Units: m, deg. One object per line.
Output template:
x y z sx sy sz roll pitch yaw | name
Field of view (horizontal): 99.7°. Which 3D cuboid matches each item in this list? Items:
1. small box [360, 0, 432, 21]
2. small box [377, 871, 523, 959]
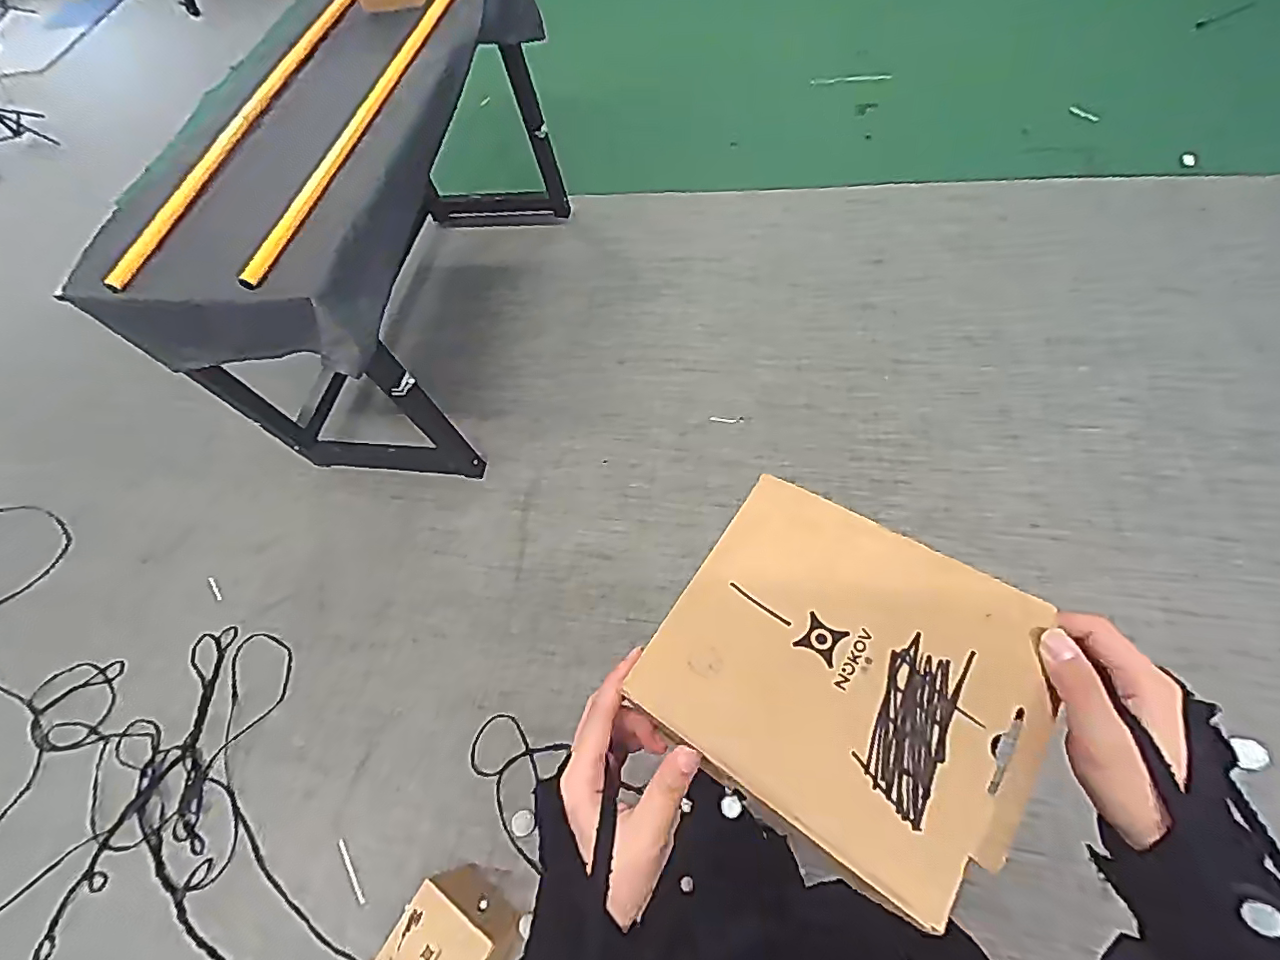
-0.640 -1.327 1.390 0.179 0.176 0.168 6 65 14 | small box
-0.350 0.875 1.010 0.179 0.176 0.168 26 70 22 | small box
